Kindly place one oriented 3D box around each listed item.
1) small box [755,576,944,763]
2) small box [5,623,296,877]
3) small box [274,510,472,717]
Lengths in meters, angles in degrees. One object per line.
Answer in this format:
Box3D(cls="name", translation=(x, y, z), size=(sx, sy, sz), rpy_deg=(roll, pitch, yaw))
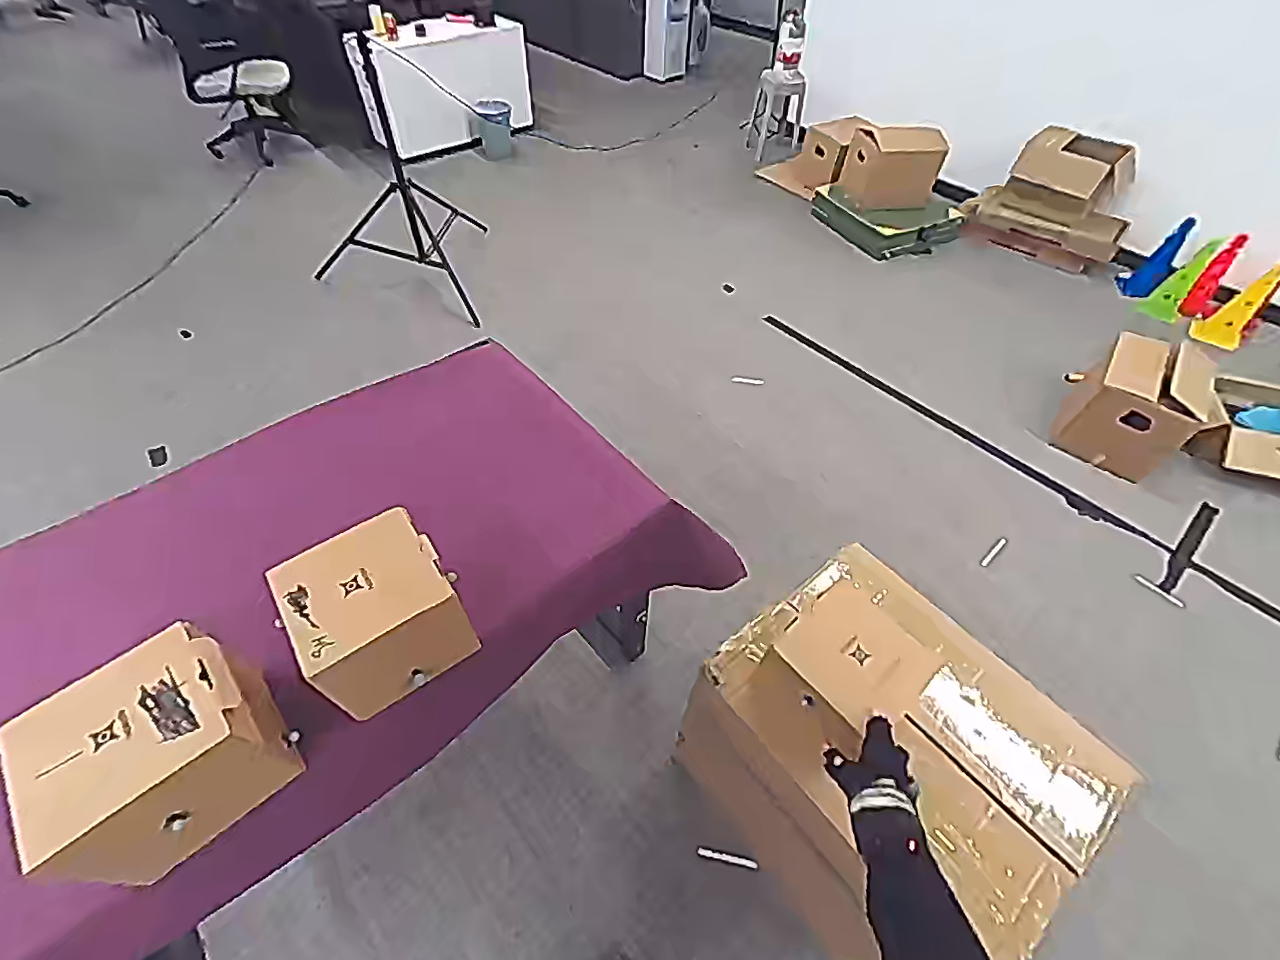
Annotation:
Box3D(cls="small box", translation=(0.293, 0.283, 0.797), size=(0.168, 0.176, 0.179), rpy_deg=(-35, 61, -24))
Box3D(cls="small box", translation=(-0.527, 0.303, 0.610), size=(0.179, 0.176, 0.168), rpy_deg=(-35, 59, -26))
Box3D(cls="small box", translation=(-0.341, 0.178, 0.723), size=(0.179, 0.176, 0.168), rpy_deg=(-29, 57, -24))
